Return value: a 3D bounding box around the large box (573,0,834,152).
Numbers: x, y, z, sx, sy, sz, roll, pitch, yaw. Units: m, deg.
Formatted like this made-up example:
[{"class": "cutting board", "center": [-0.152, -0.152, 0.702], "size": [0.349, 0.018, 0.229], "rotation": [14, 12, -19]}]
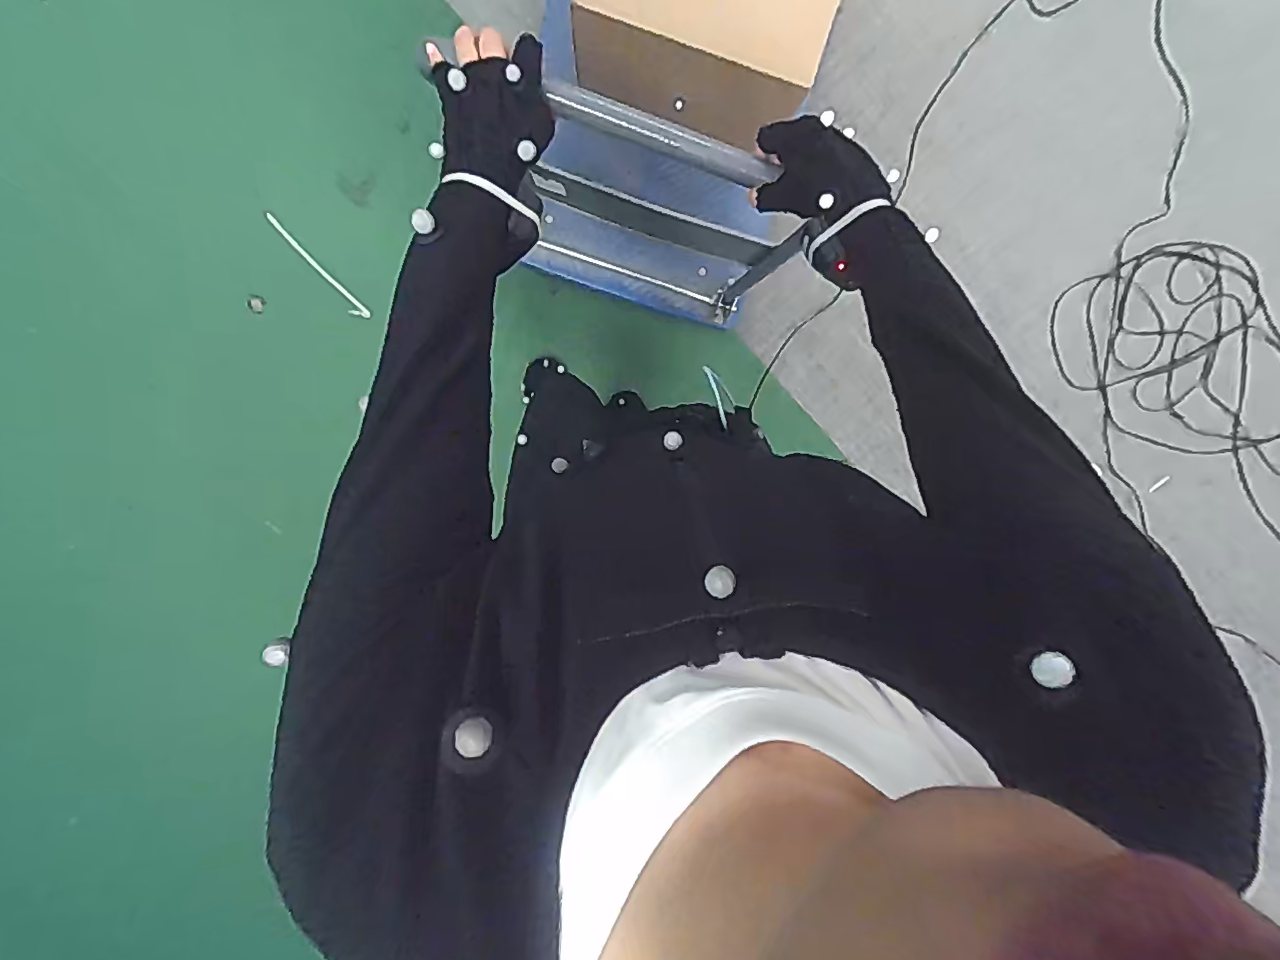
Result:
[{"class": "large box", "center": [0.119, -0.864, 0.981], "size": [0.408, 0.320, 0.320], "rotation": [15, 100, -6]}]
